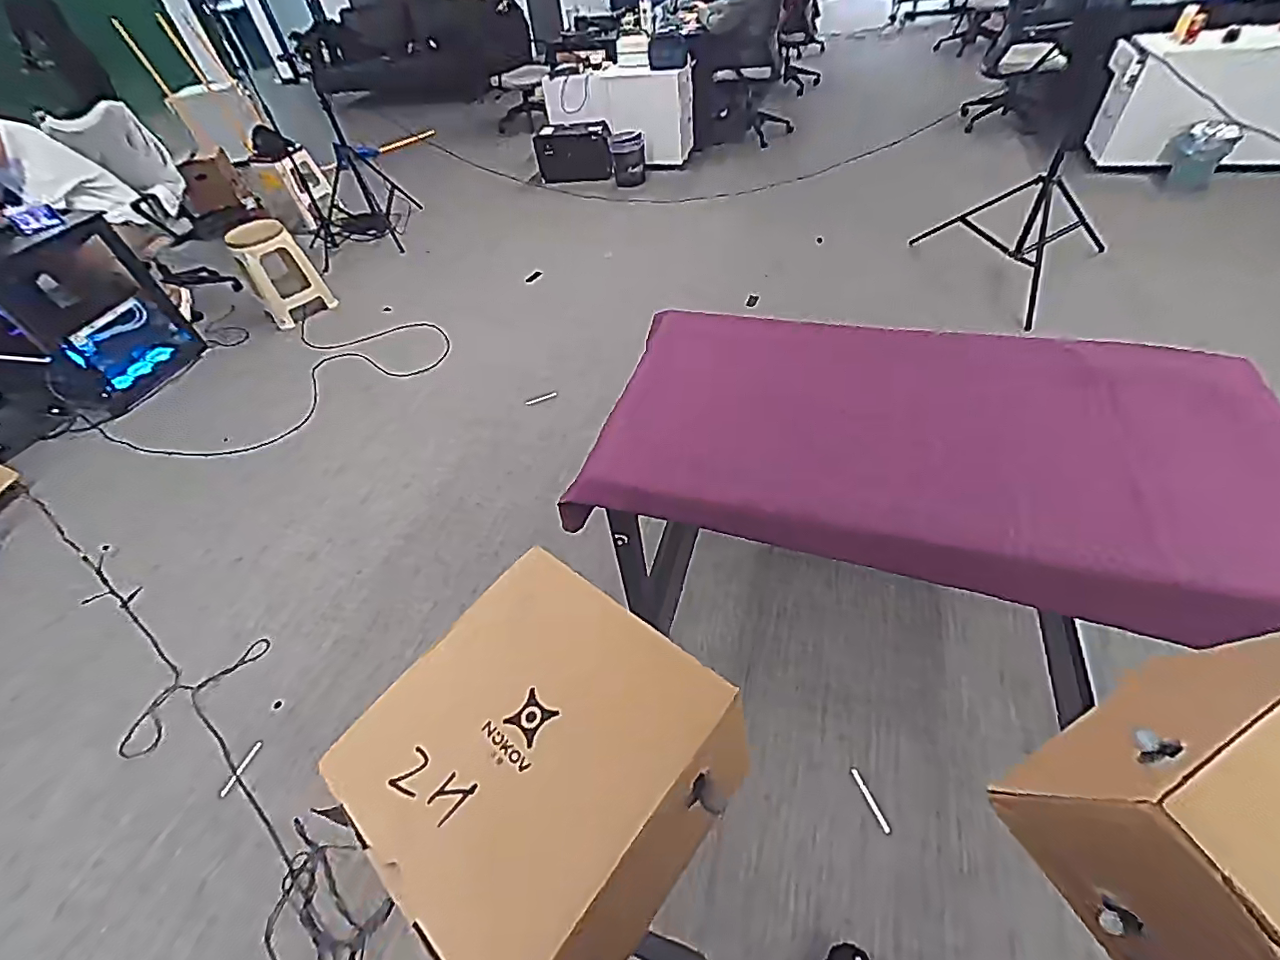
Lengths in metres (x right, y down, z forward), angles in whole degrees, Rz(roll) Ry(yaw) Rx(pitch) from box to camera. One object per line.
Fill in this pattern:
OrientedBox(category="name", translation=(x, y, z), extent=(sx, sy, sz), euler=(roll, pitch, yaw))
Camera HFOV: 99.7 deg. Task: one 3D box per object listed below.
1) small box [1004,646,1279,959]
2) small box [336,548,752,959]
OrientedBox(category="small box", translation=(0.355, 0.204, 0.294), extent=(0.179, 0.176, 0.168), euler=(-30, 63, -9))
OrientedBox(category="small box", translation=(-0.042, 0.184, 0.353), extent=(0.168, 0.176, 0.179), euler=(28, 63, 32))
